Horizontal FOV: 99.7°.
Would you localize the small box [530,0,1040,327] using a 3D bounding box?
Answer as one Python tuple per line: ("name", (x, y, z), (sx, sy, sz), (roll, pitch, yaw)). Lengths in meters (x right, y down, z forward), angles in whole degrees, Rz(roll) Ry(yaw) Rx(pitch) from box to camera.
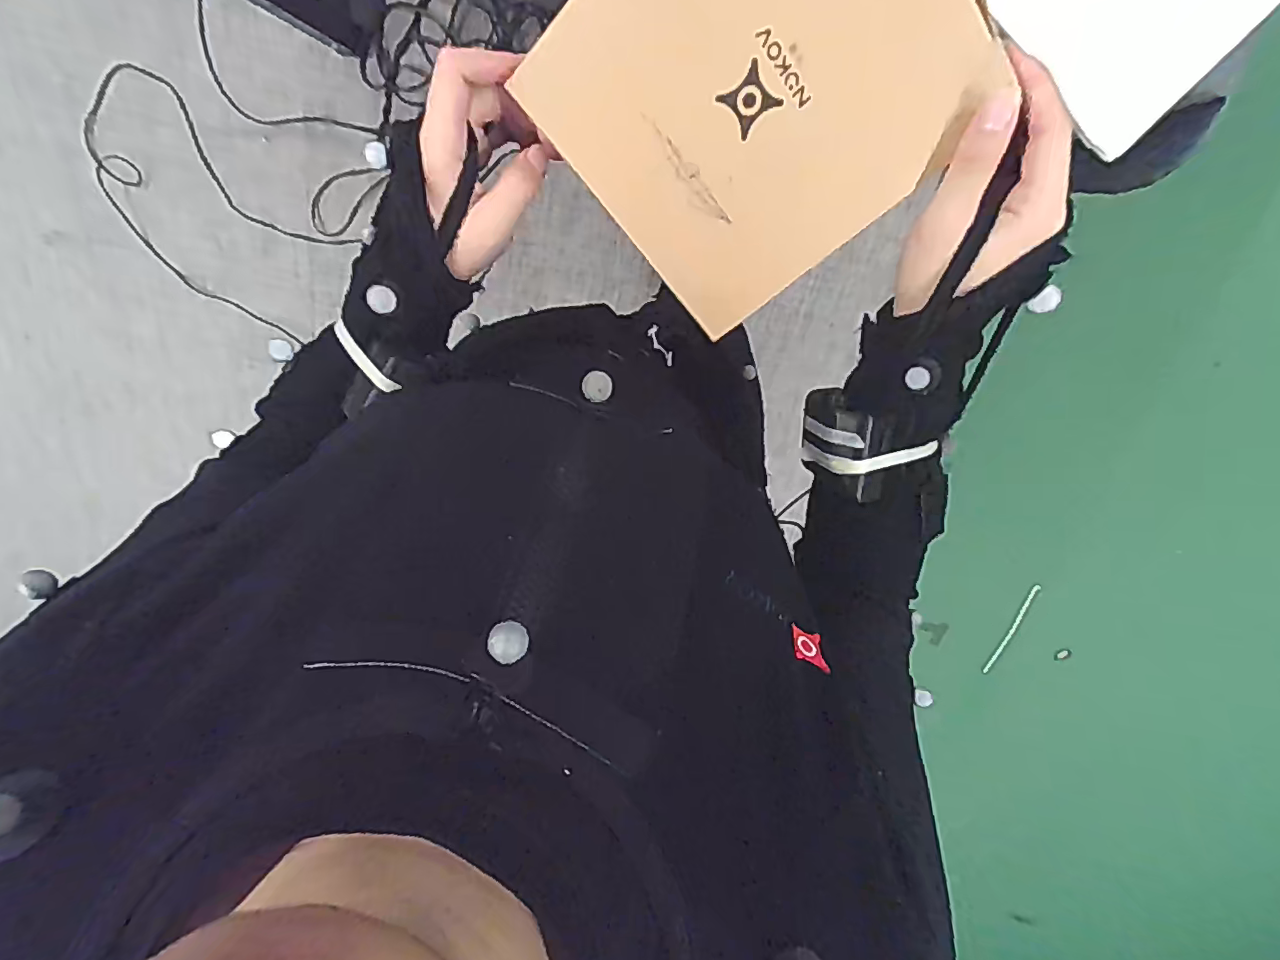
("small box", (0.070, -0.228, 0.313), (0.179, 0.176, 0.168), (-35, 111, 27))
